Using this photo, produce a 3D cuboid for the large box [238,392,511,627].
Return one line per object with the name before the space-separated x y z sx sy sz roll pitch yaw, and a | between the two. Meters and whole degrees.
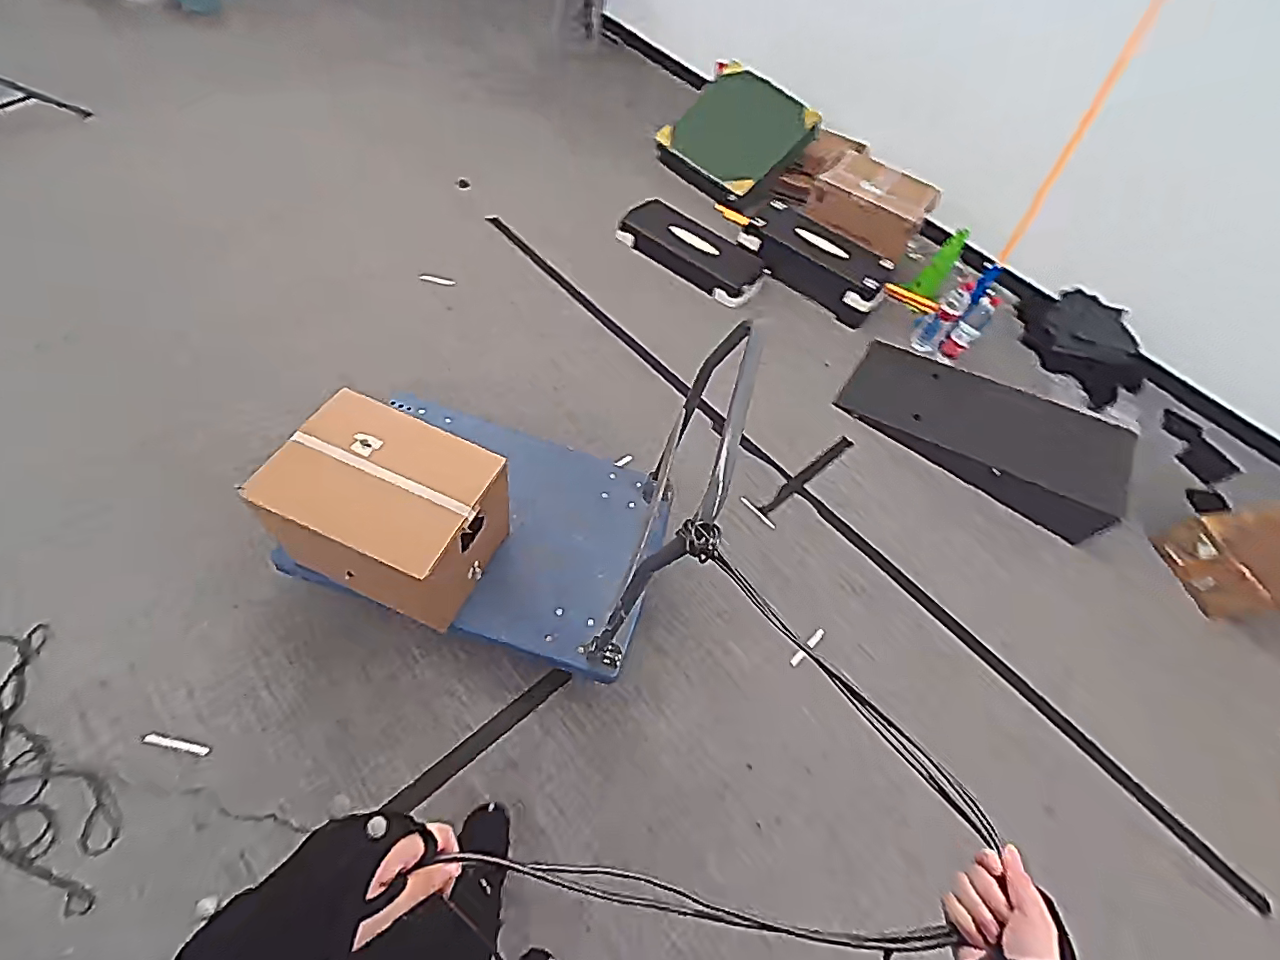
large box | -0.542 0.075 1.205 0.408 0.320 0.320 23 55 5
